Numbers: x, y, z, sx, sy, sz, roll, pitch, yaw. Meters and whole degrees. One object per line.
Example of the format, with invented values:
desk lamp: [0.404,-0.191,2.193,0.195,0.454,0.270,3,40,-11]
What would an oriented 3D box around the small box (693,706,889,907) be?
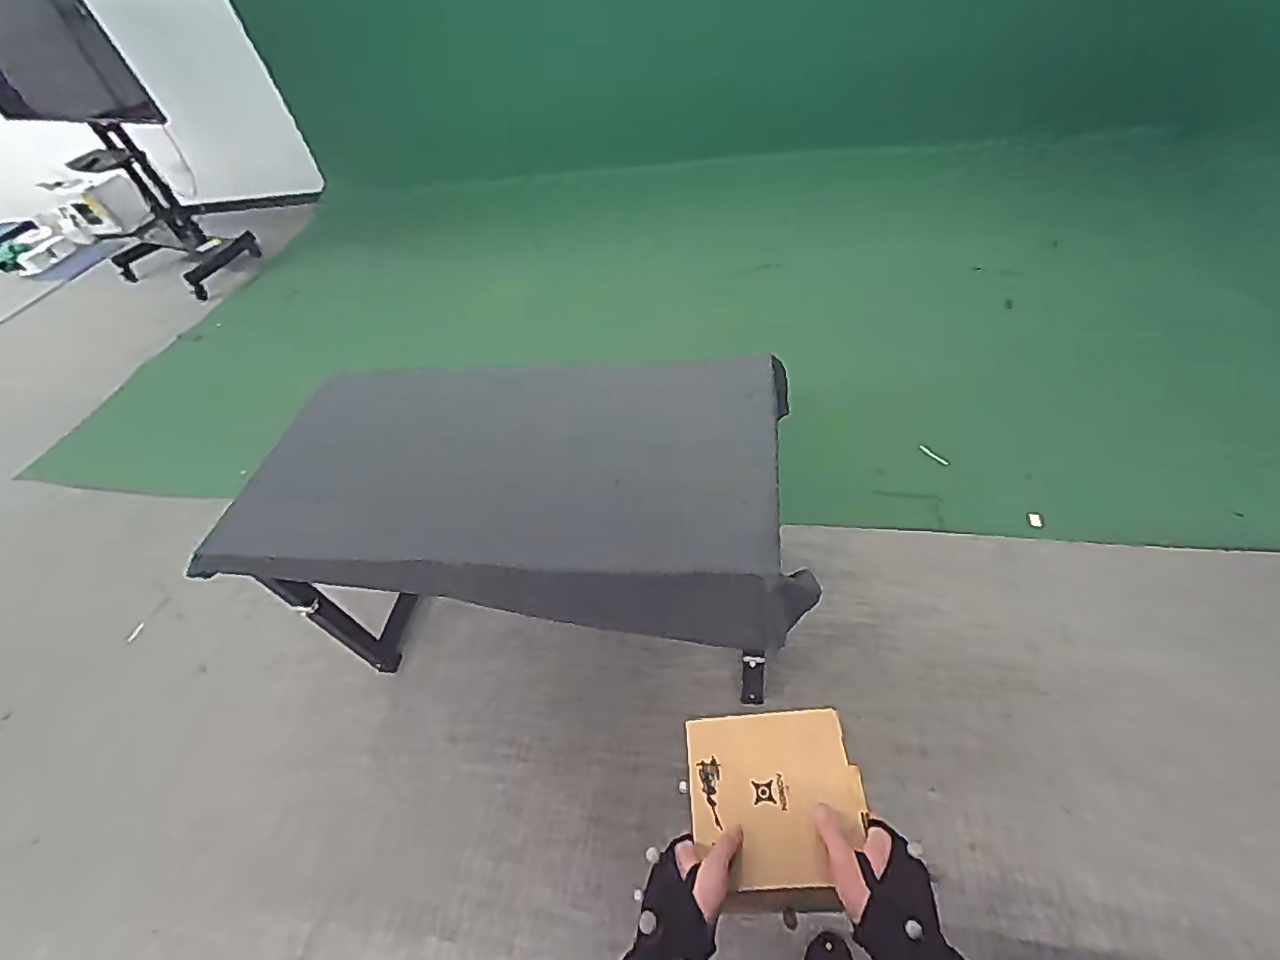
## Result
small box: [0.159,0.377,0.623,0.179,0.176,0.168,-7,46,6]
